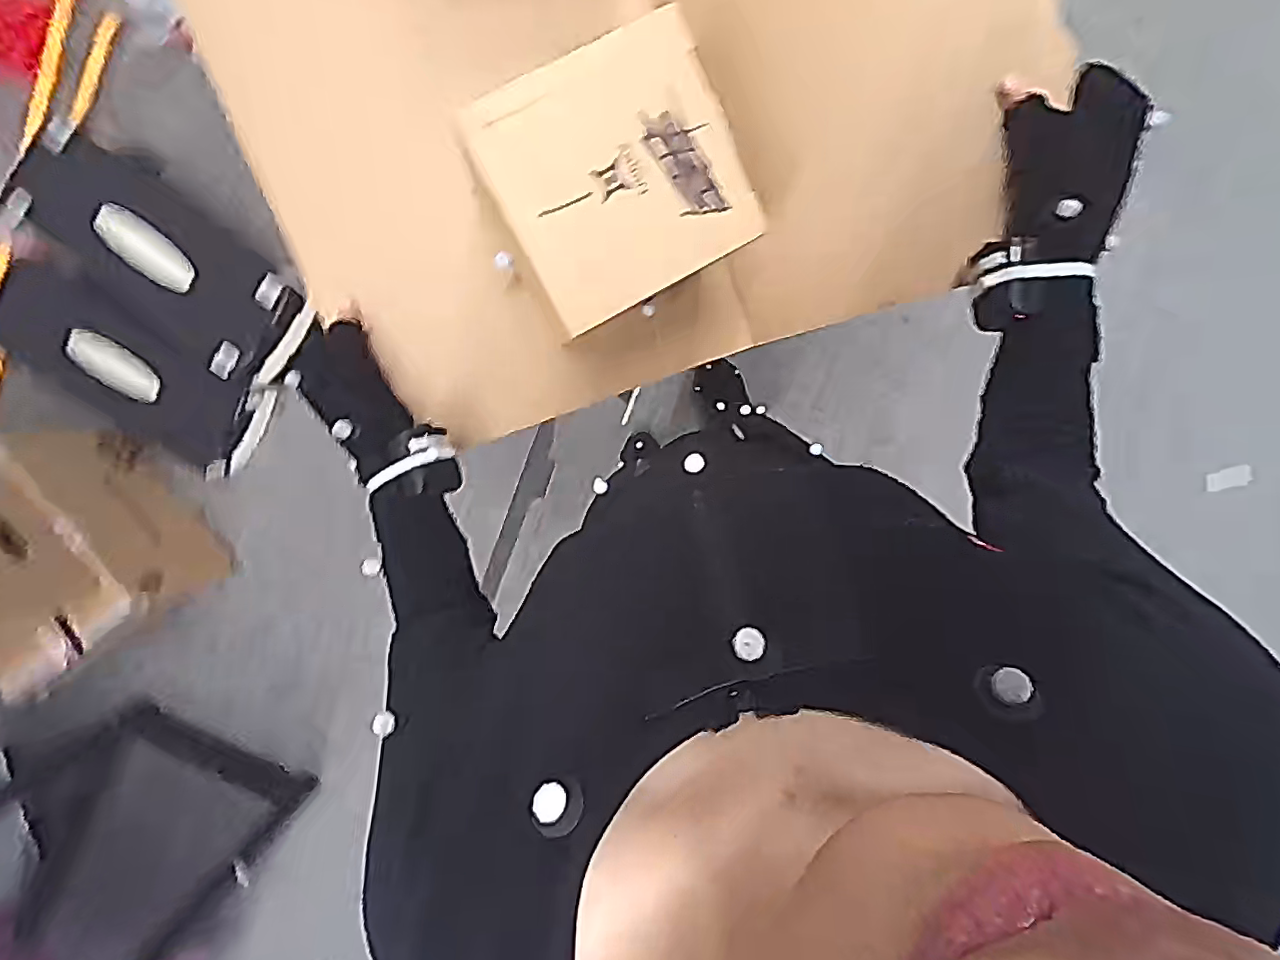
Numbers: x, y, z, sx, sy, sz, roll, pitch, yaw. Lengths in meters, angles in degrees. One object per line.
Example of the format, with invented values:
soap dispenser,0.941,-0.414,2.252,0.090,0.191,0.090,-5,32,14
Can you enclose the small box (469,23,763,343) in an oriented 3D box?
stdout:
small box,-0.027,-0.234,0.475,0.179,0.176,0.168,-29,106,-4
